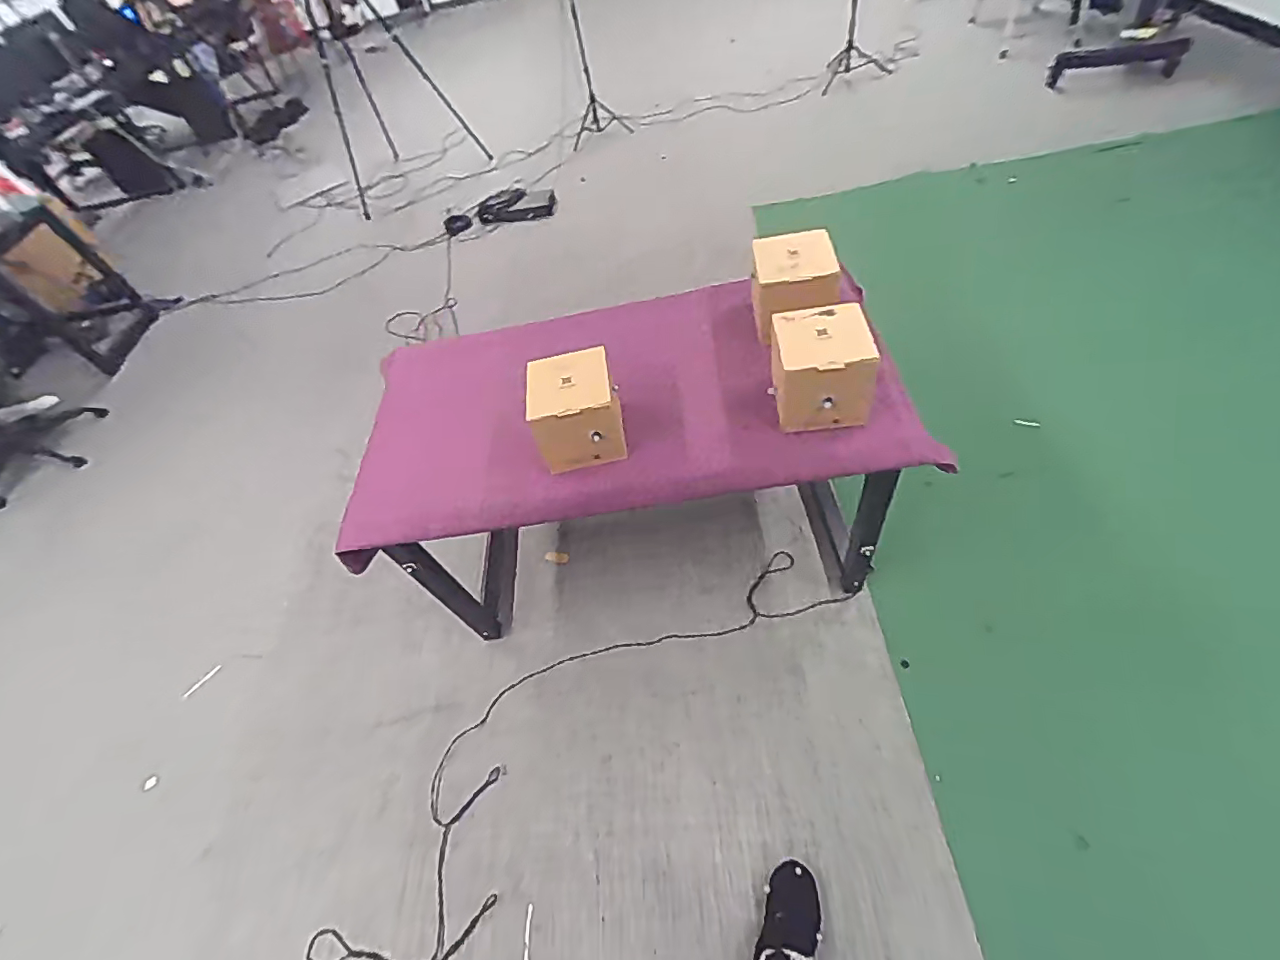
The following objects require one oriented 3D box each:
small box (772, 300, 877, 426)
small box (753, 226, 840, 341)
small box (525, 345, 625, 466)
[{"bbox_3d":[0.351,-0.220,1.057,0.168,0.176,0.179,-5,52,10],"label":"small box"},{"bbox_3d":[0.346,-0.441,1.223,0.168,0.176,0.179,-5,54,10],"label":"small box"},{"bbox_3d":[-0.130,-0.146,1.116,0.168,0.176,0.179,-11,51,4],"label":"small box"}]
